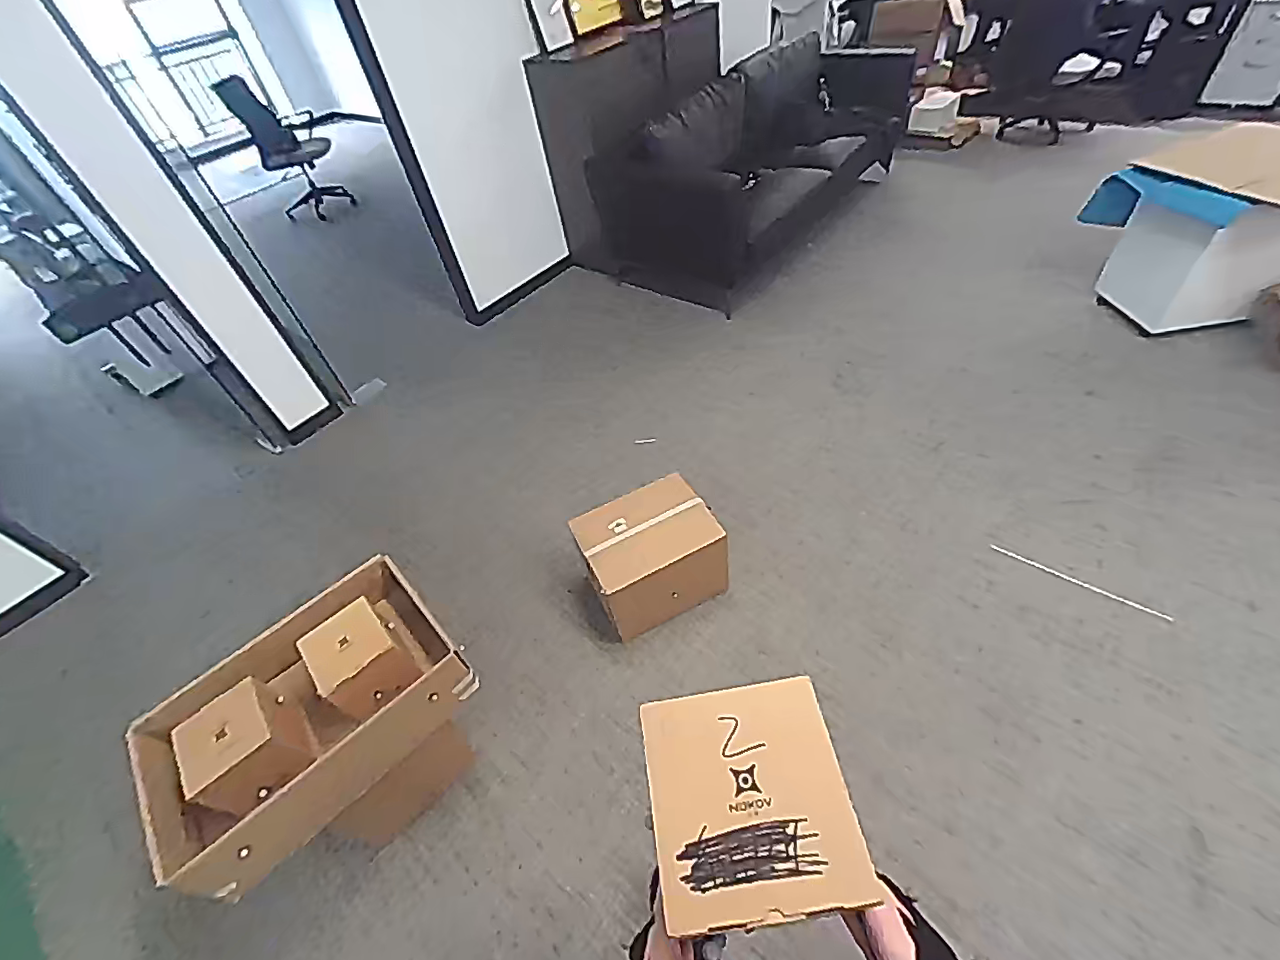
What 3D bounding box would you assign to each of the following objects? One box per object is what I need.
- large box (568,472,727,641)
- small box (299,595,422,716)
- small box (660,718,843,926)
[{"bbox_3d":[0.035,0.247,1.759,0.408,0.320,0.320,-26,48,-12],"label":"large box"},{"bbox_3d":[-0.641,0.409,1.252,0.168,0.176,0.179,-37,54,-23],"label":"small box"},{"bbox_3d":[0.124,0.411,0.649,0.168,0.176,0.179,-10,49,1],"label":"small box"}]
